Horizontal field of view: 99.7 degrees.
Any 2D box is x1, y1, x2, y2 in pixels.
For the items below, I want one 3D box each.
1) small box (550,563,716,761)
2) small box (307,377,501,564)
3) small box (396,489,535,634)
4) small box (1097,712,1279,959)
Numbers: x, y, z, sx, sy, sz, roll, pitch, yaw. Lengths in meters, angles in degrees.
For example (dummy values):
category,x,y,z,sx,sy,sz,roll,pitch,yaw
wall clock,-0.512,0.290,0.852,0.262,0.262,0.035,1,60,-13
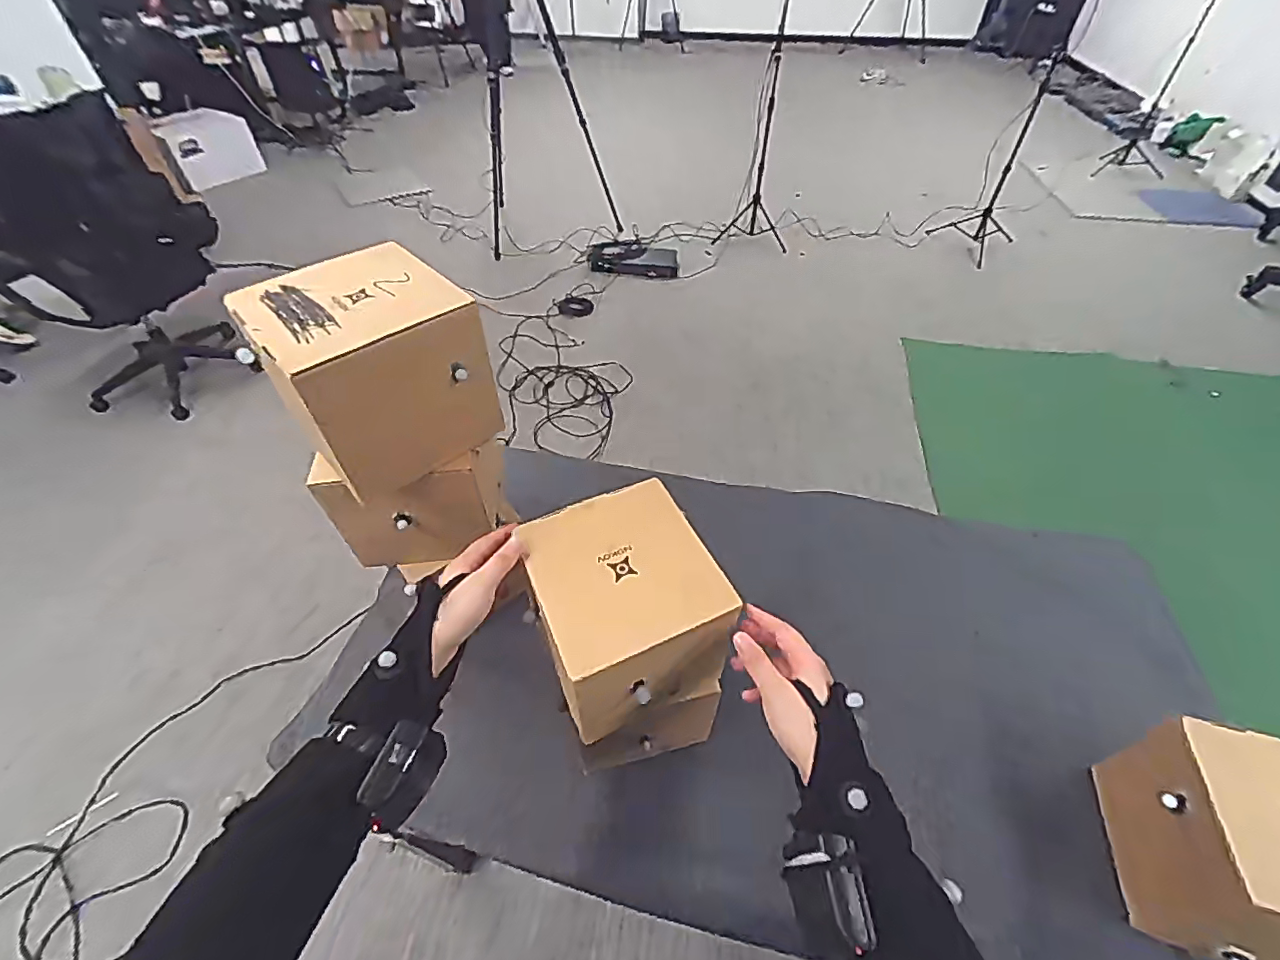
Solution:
category,x,y,z,sx,sy,sz,roll,pitch,yaw
small box,-0.013,0.238,0.691,0.168,0.176,0.179,-11,48,-10
small box,-0.281,-0.010,0.695,0.179,0.176,0.168,-6,49,-5
small box,-0.280,0.096,0.821,0.168,0.176,0.179,-32,56,-25
small box,0.621,0.378,0.555,0.168,0.176,0.179,13,46,14
